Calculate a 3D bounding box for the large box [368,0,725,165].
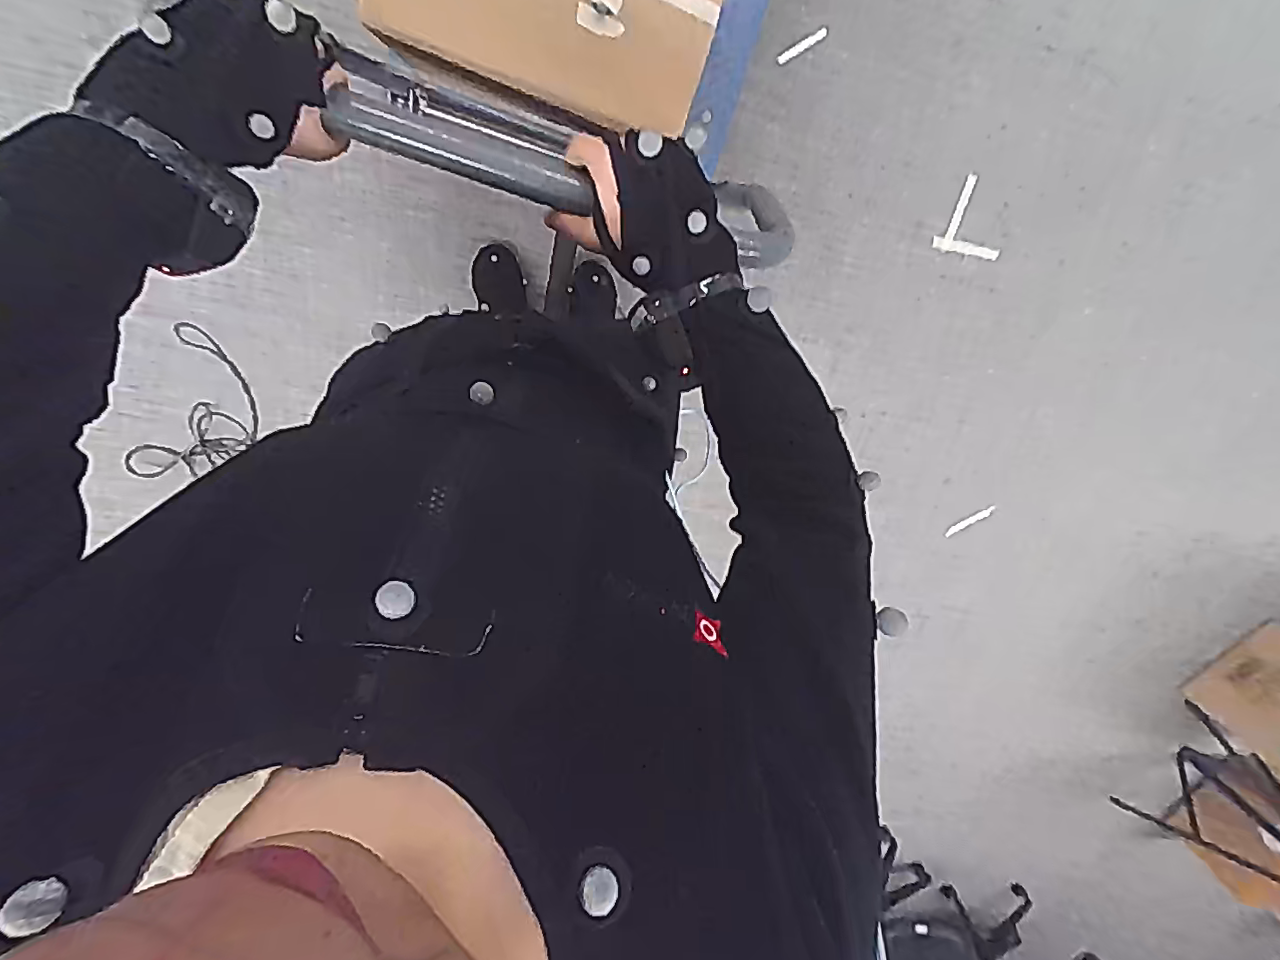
[{"bbox_3d":[-0.107,-0.686,0.753,0.408,0.320,0.320,14,114,-14],"label":"large box"}]
